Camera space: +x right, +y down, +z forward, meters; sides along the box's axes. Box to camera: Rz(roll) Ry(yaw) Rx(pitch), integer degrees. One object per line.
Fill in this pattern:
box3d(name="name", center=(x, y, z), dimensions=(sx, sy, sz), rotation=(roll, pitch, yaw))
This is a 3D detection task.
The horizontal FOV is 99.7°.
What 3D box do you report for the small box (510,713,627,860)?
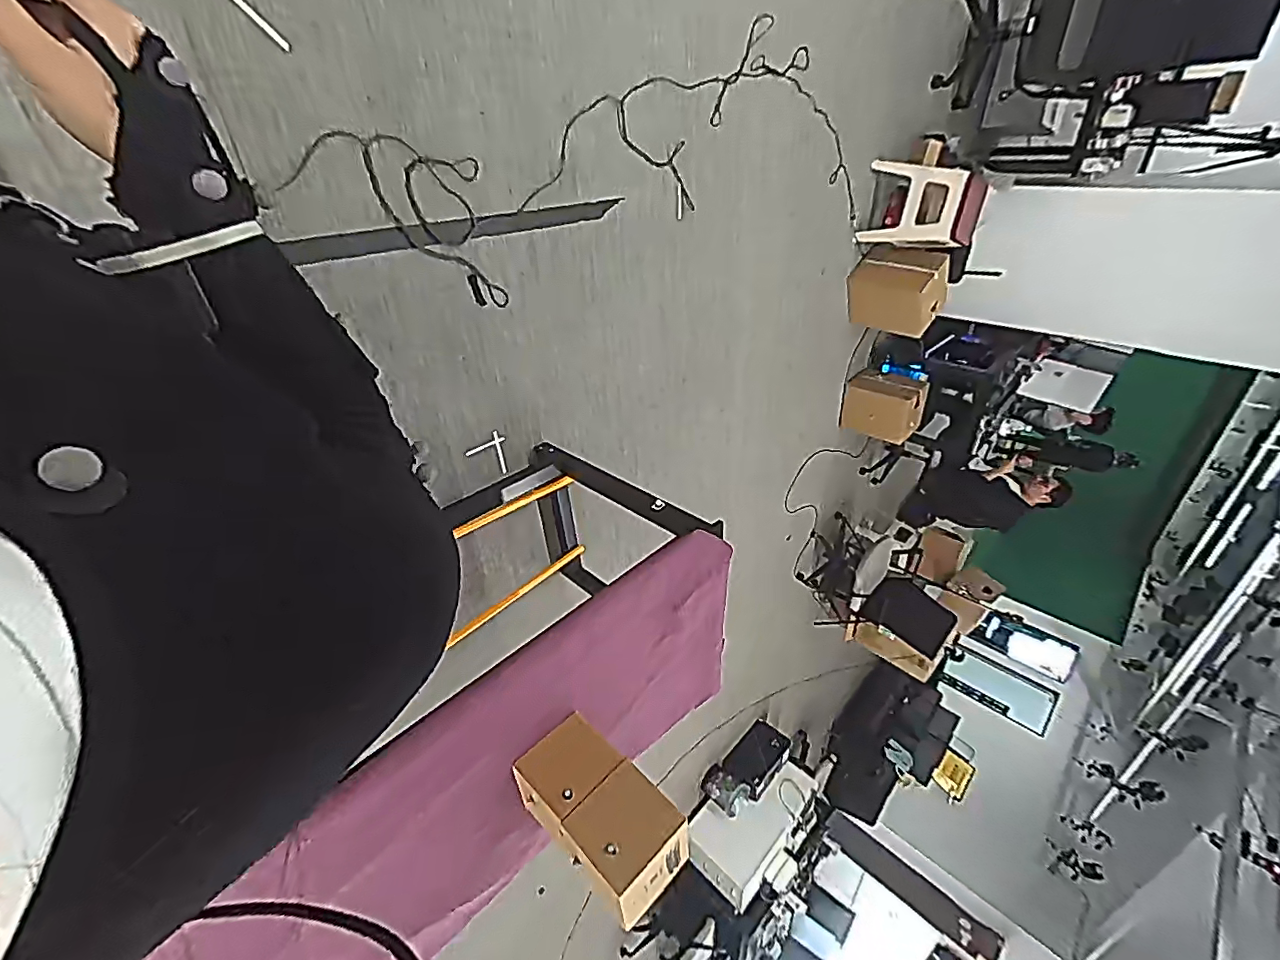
box3d(name="small box", center=(-0.149, 0.641, 1.151), dimensions=(0.179, 0.176, 0.168), rotation=(-30, 132, -35))
